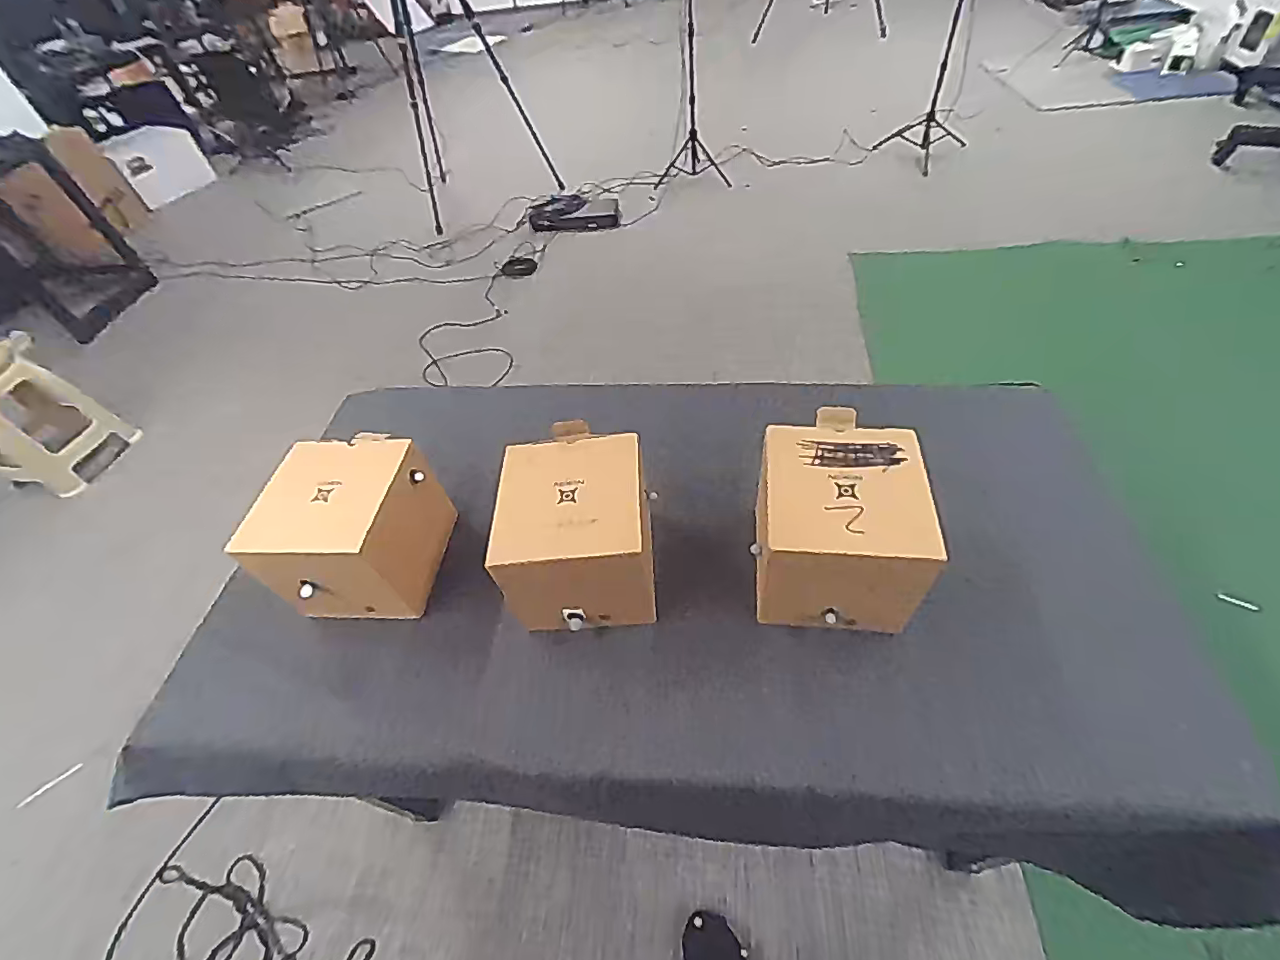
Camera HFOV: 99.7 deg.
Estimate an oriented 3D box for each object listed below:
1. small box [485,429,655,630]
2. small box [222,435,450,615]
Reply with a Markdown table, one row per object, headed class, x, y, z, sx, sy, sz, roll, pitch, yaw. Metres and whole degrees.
| class | x | y | z | sx | sy | sz | roll | pitch | yaw |
| --- | --- | --- | --- | --- | --- | --- | --- | --- | --- |
| small box | -0.073 | 0.063 | 0.665 | 0.168 | 0.176 | 0.179 | -7 | 50 | 4 |
| small box | -0.370 | 0.062 | 0.703 | 0.168 | 0.176 | 0.179 | -1 | 49 | 6 |
